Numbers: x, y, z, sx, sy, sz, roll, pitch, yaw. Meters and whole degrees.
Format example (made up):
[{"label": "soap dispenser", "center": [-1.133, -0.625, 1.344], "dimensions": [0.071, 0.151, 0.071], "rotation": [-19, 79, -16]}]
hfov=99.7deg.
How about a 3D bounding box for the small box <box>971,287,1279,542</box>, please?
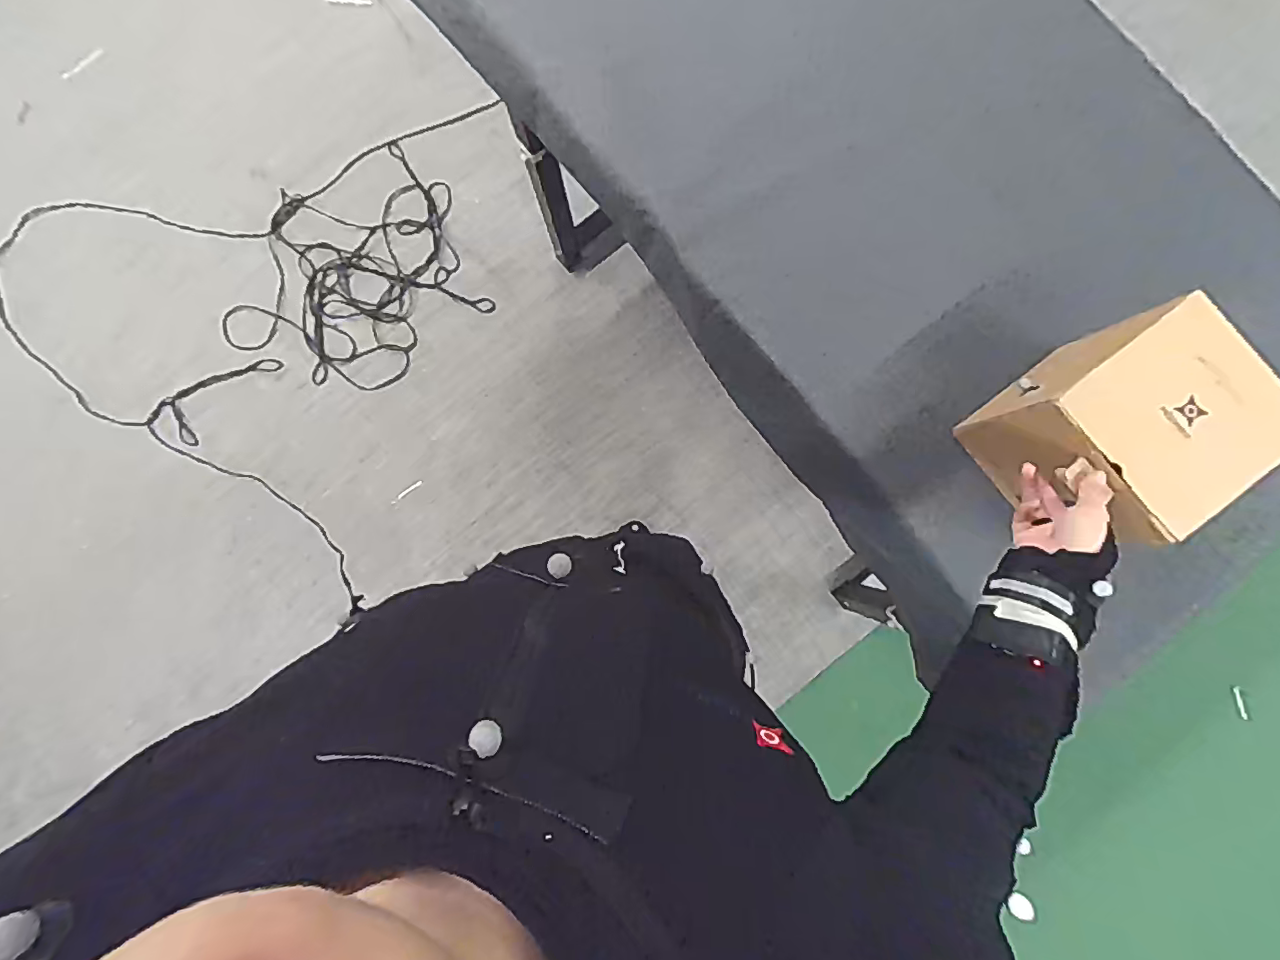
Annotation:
[{"label": "small box", "center": [0.484, -0.052, 0.554], "dimensions": [0.179, 0.176, 0.168], "rotation": [-38, 87, -4]}]
